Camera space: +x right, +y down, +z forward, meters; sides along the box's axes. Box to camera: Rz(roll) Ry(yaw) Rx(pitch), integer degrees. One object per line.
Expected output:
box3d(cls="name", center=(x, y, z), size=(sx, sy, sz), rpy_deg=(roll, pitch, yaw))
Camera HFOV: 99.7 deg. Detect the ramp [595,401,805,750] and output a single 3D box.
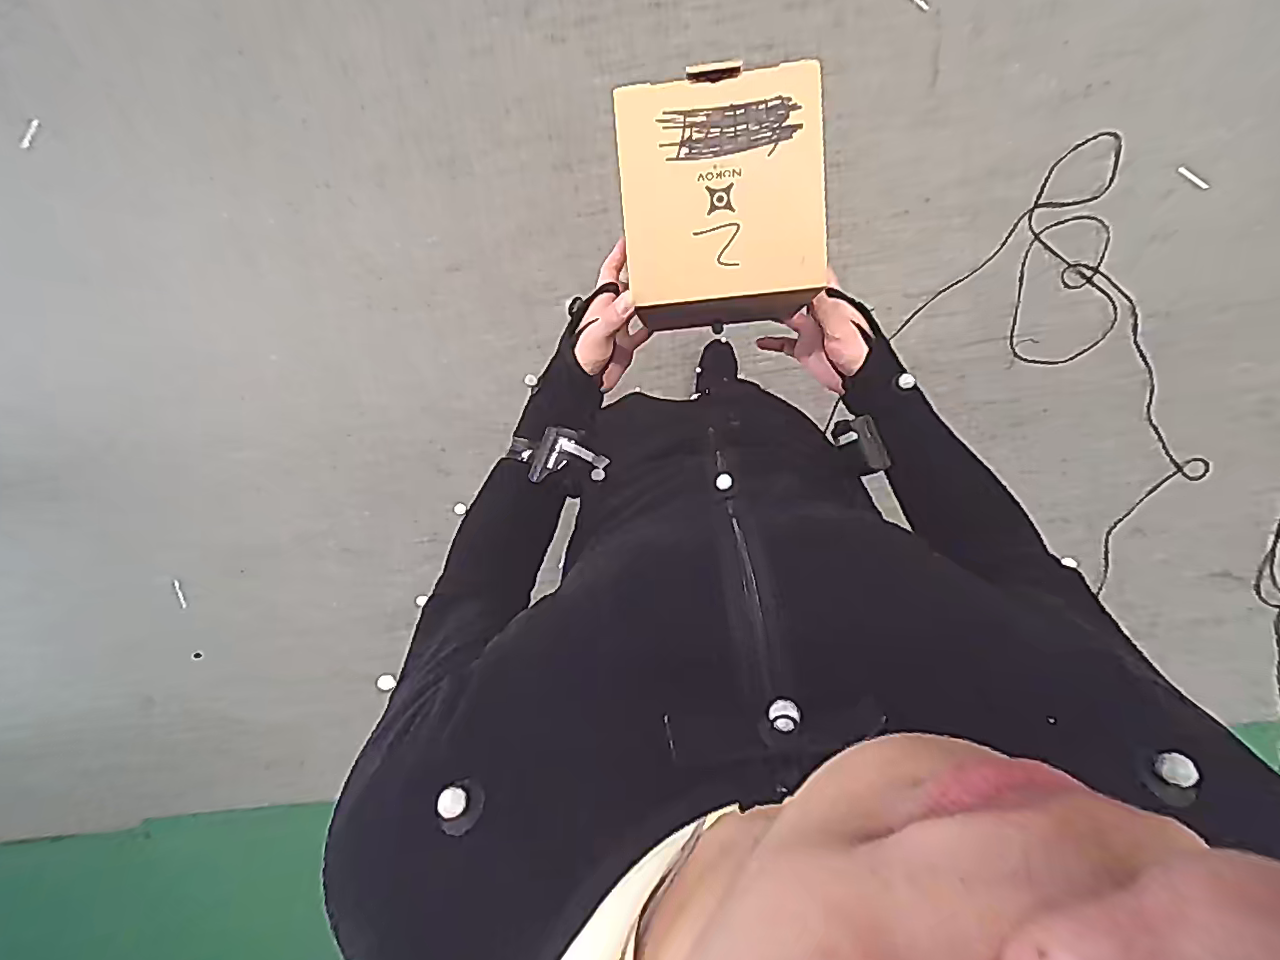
box3d(cls="ramp", center=(0.173, 0.294, 1.608), size=(0.509, 0.206, 0.991), rpy_deg=(-10, 101, 7))
